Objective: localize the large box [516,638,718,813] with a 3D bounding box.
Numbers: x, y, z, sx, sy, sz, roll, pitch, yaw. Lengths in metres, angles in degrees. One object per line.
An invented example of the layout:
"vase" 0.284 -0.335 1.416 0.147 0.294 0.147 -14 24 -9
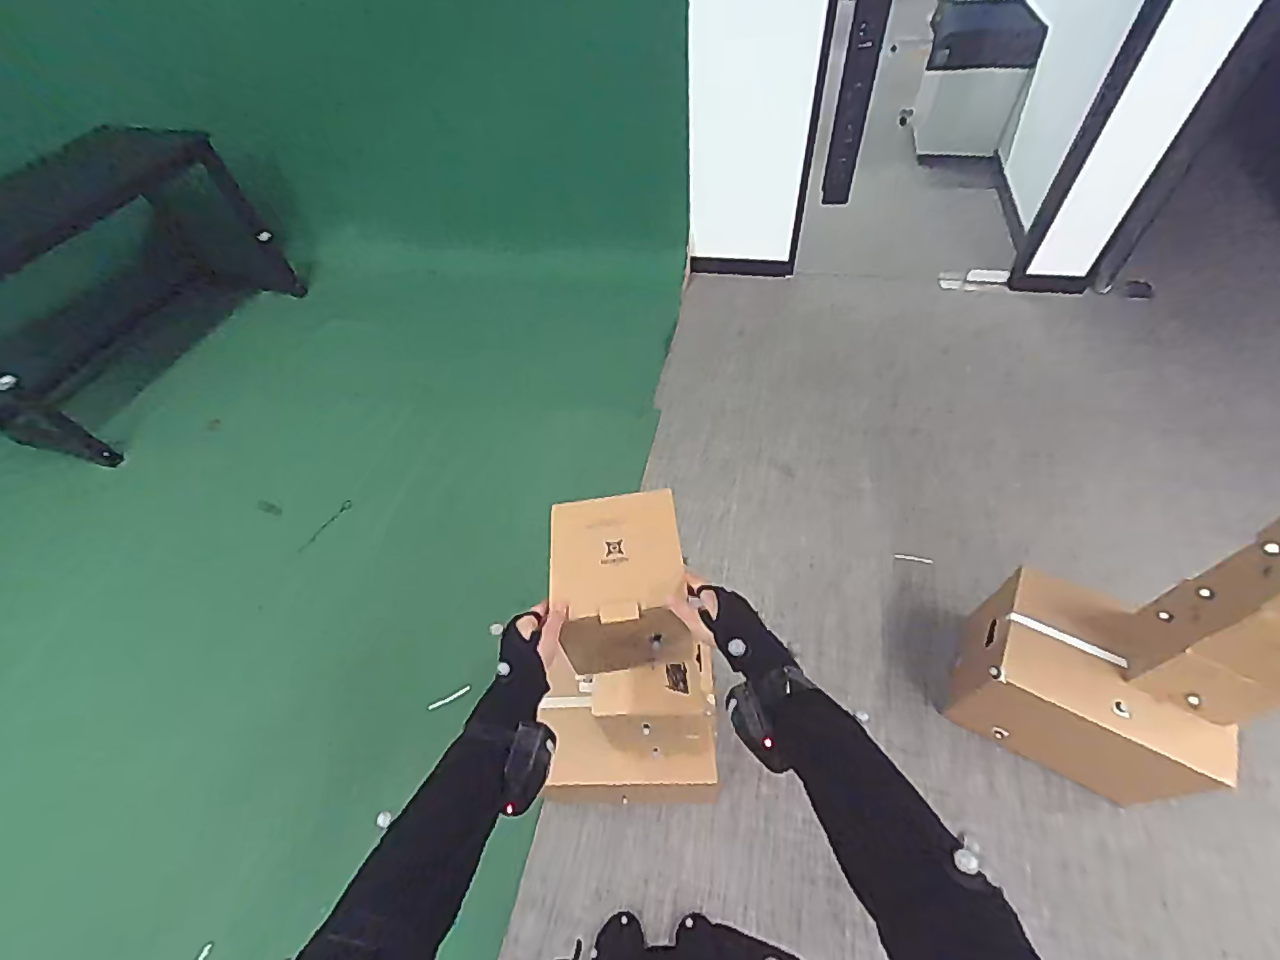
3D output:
"large box" -0.036 0.582 1.266 0.408 0.320 0.320 -4 51 4

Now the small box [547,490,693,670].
"small box" -0.022 0.141 0.727 0.168 0.176 0.179 -8 49 2

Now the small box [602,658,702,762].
"small box" 0.030 0.443 1.056 0.179 0.176 0.168 1 53 6

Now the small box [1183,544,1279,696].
"small box" 1.081 0.245 0.905 0.179 0.176 0.168 26 57 24

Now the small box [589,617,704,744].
"small box" 0.017 0.345 0.924 0.179 0.176 0.168 -4 53 5

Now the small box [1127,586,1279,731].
"small box" 1.084 0.343 1.035 0.168 0.176 0.179 25 57 22
